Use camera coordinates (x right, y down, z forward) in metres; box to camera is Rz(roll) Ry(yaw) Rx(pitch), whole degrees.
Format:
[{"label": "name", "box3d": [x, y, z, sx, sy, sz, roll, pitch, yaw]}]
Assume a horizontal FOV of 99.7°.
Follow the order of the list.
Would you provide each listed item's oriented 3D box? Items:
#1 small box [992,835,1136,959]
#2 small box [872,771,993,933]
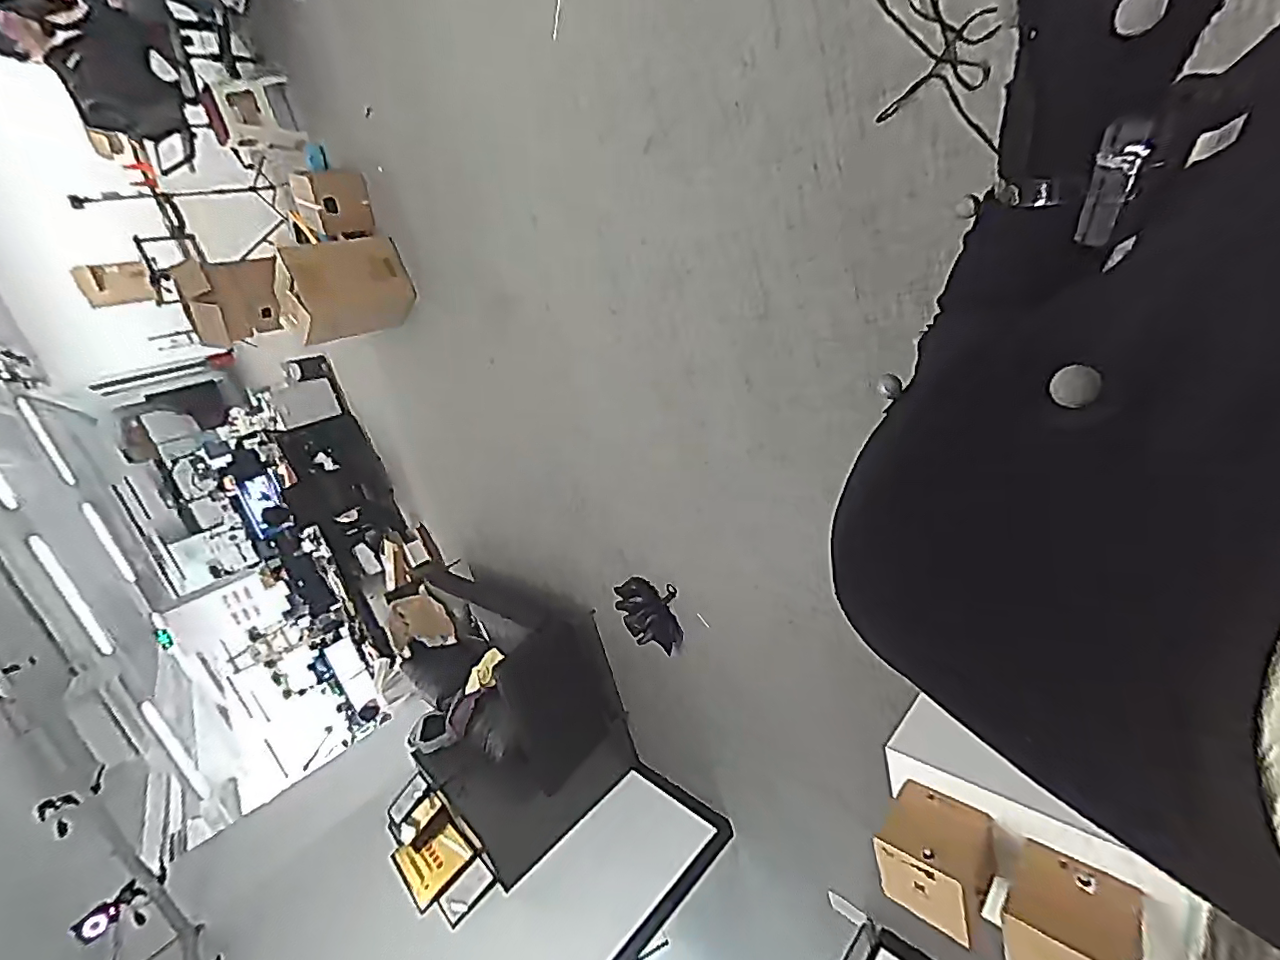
[{"label": "small box", "box3d": [0.742, 0.782, 0.943, 0.168, 0.176, 0.179, 2, 113, 50]}, {"label": "small box", "box3d": [0.606, 0.754, 1.114, 0.168, 0.176, 0.179, 5, 118, 49]}]
